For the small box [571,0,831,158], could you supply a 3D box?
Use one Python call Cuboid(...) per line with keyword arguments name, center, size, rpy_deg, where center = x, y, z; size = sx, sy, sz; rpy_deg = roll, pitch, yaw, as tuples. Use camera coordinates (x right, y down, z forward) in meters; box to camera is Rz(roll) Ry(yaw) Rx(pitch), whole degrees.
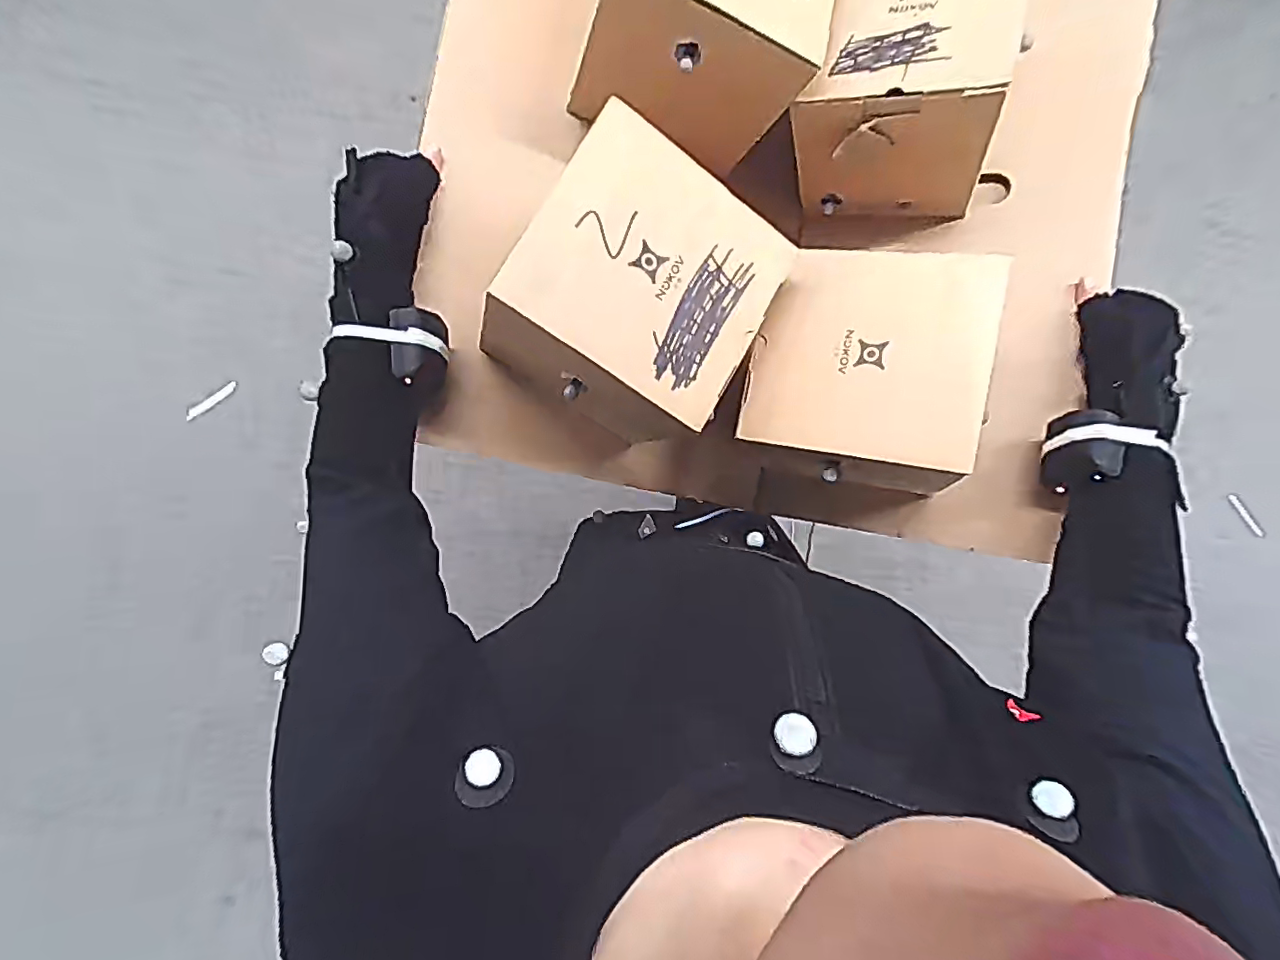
Cuboid(name="small box", center=(0.050, -0.424, 0.471), size=(0.179, 0.176, 0.168), rpy_deg=(14, 87, -19))
